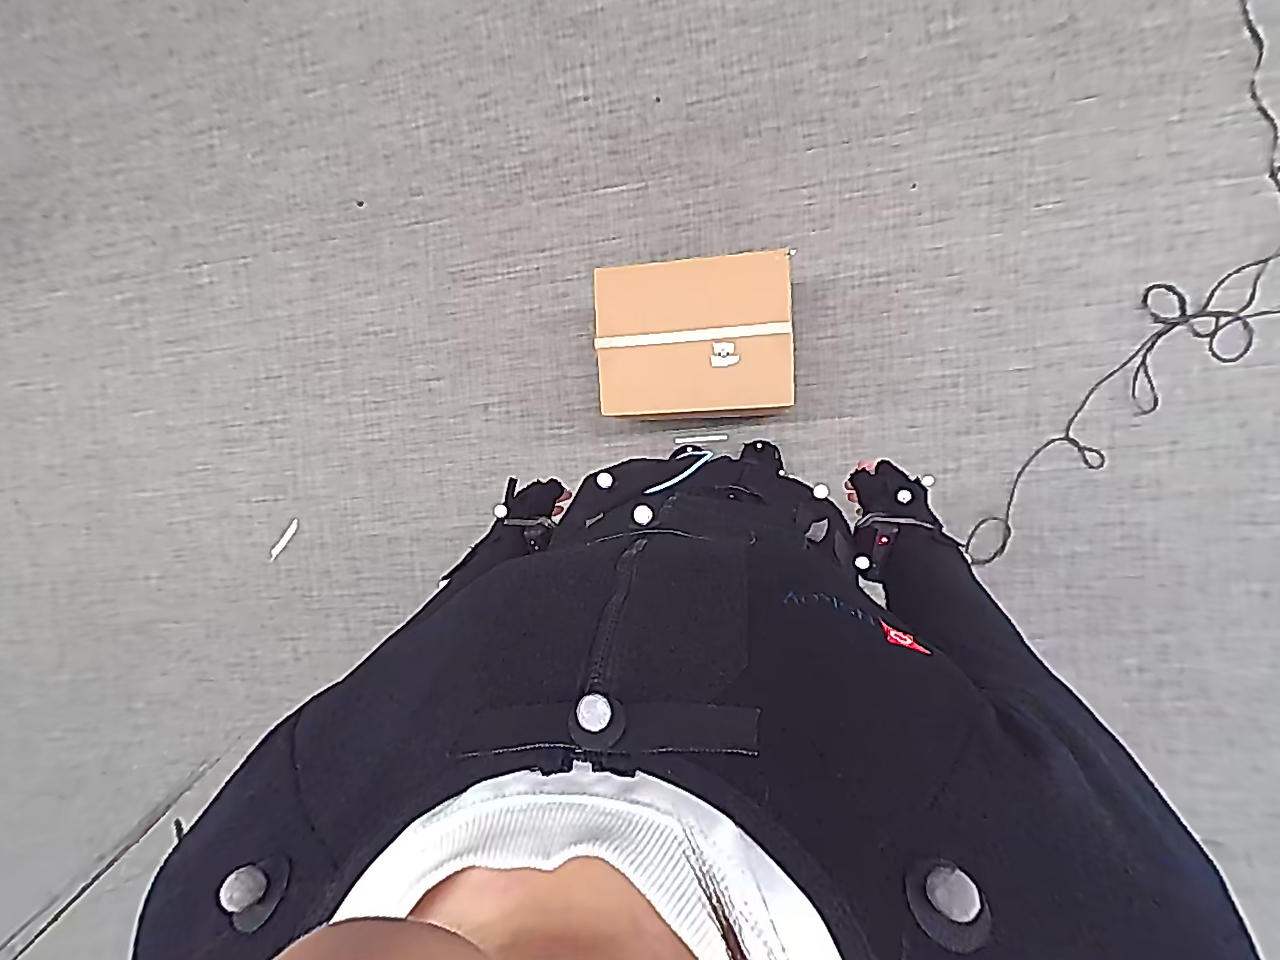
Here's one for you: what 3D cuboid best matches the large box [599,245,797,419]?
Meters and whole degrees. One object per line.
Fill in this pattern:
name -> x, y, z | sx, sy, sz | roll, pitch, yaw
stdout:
large box -> 0.139, -0.316, 1.267 | 0.408, 0.320, 0.320 | -2, 94, 10
